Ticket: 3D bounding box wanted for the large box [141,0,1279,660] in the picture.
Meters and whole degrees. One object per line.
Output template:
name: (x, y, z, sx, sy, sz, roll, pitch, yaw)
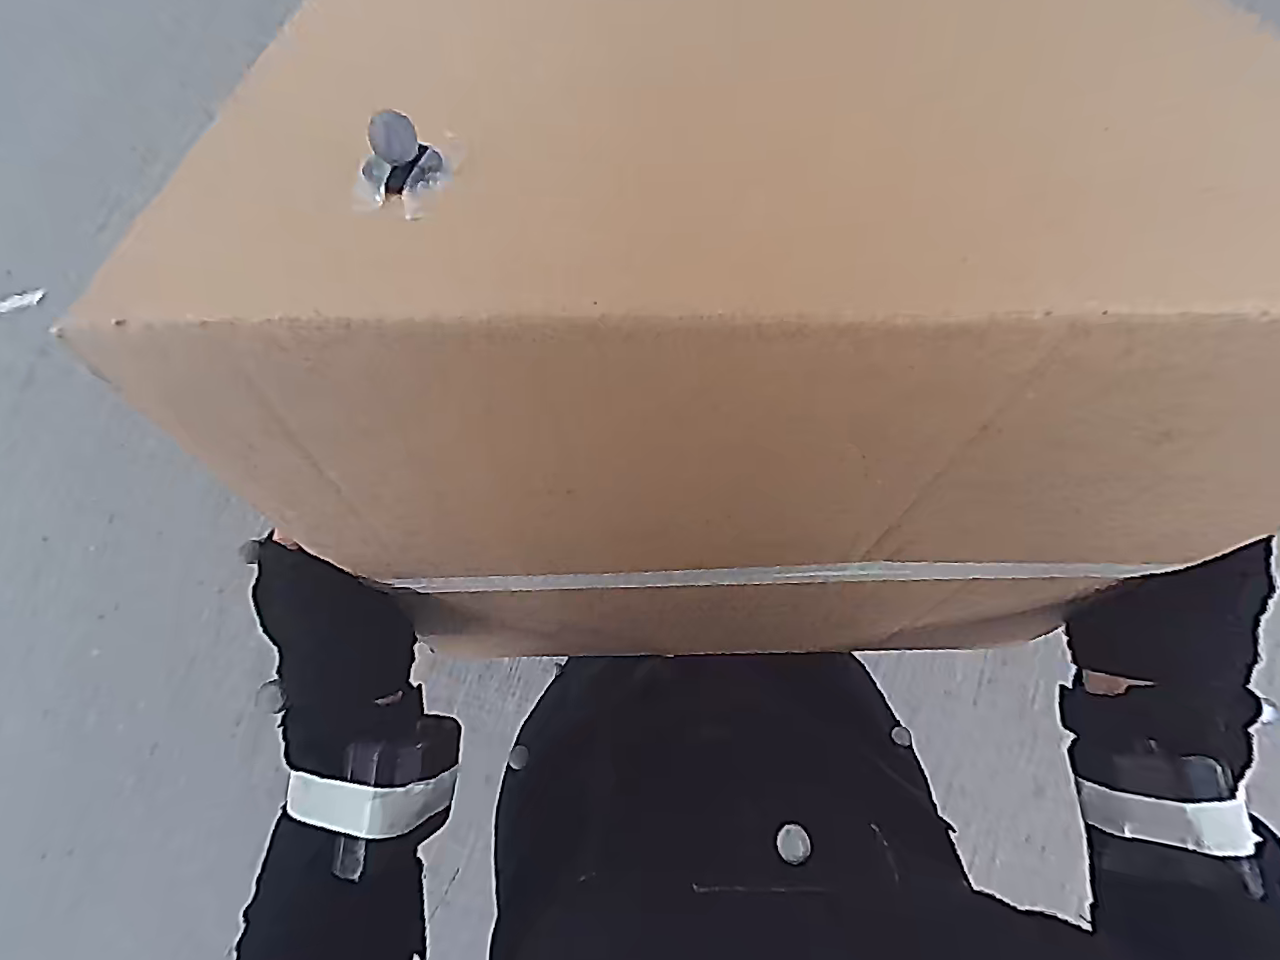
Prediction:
large box: (0.060, -0.086, 0.345, 0.408, 0.320, 0.320, -2, 59, -1)
